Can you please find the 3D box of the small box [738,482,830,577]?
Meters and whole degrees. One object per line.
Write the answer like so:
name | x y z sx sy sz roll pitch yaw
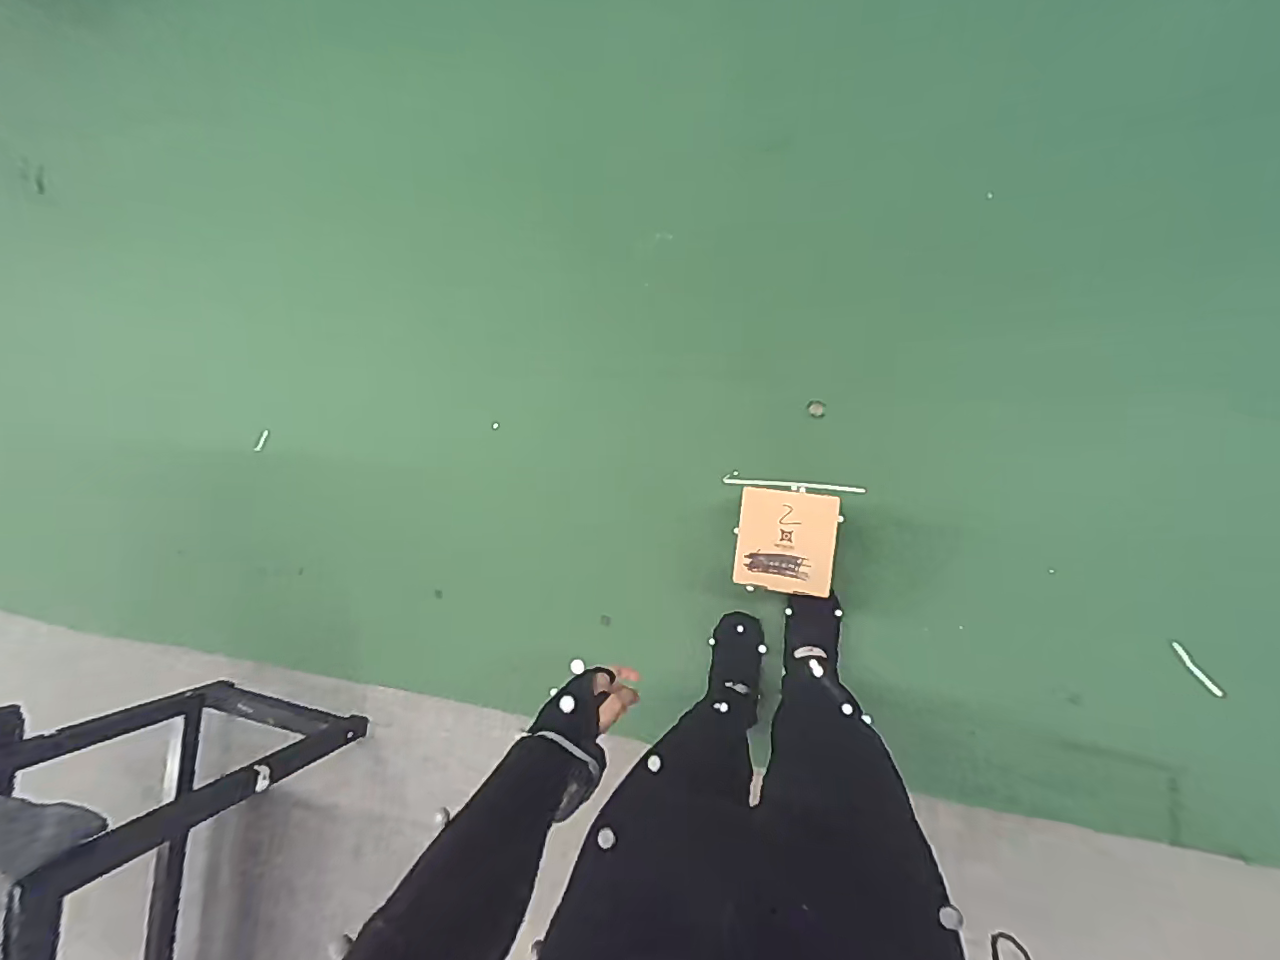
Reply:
small box | 0.312 0.101 1.177 0.168 0.176 0.179 7 91 16
